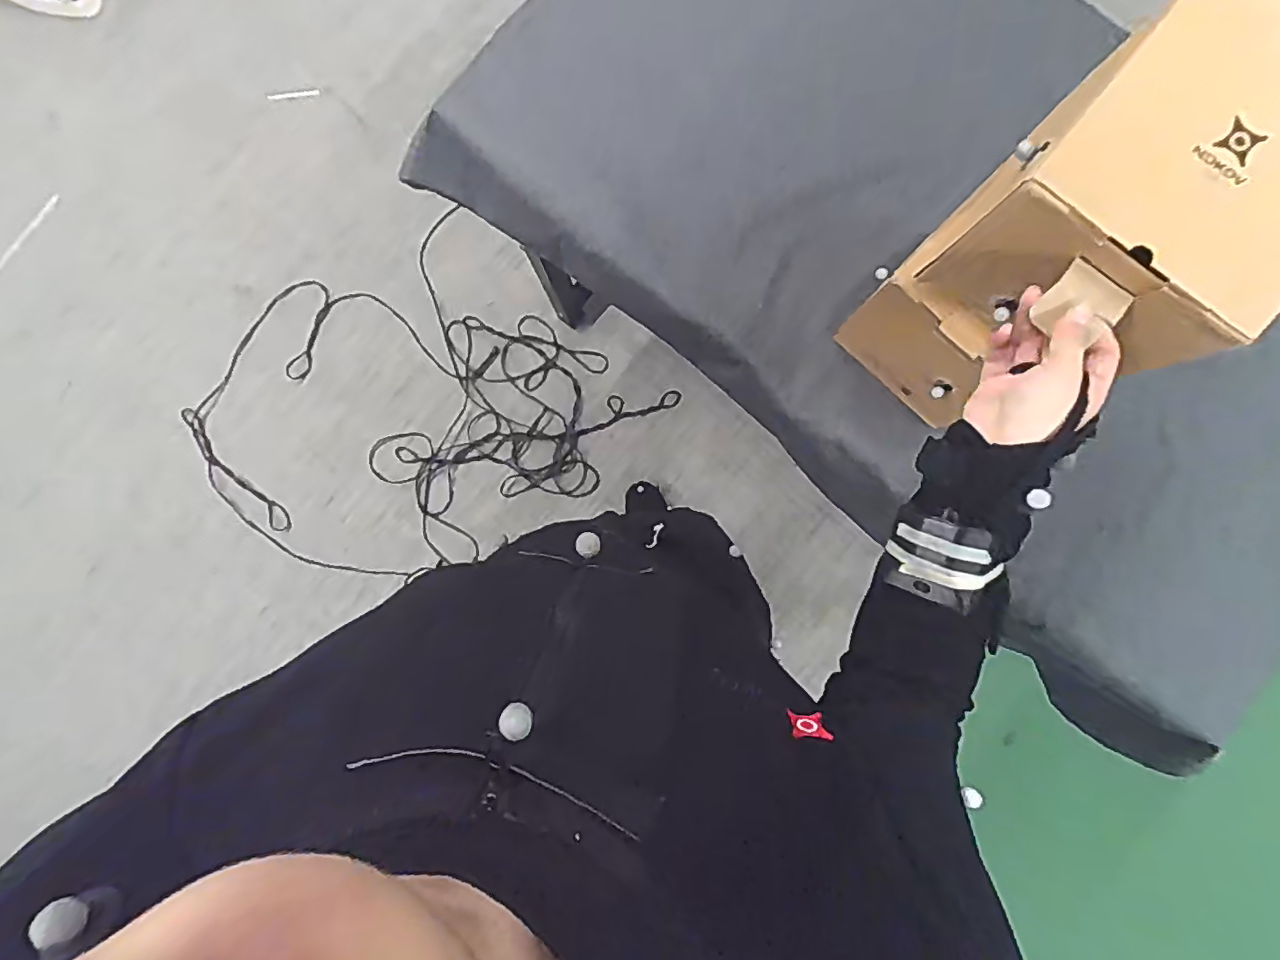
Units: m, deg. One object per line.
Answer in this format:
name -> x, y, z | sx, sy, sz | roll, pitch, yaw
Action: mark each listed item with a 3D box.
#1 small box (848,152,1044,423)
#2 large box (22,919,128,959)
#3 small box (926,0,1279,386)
small box -> 0.348, -0.181, 0.570 | 0.168, 0.176, 0.179 | 44, 87, 2
large box -> -1.340, 1.323, 1.189 | 0.408, 0.320, 0.320 | 39, 88, 5
small box -> 0.359, -0.195, 0.403 | 0.168, 0.176, 0.179 | 39, 92, 3
